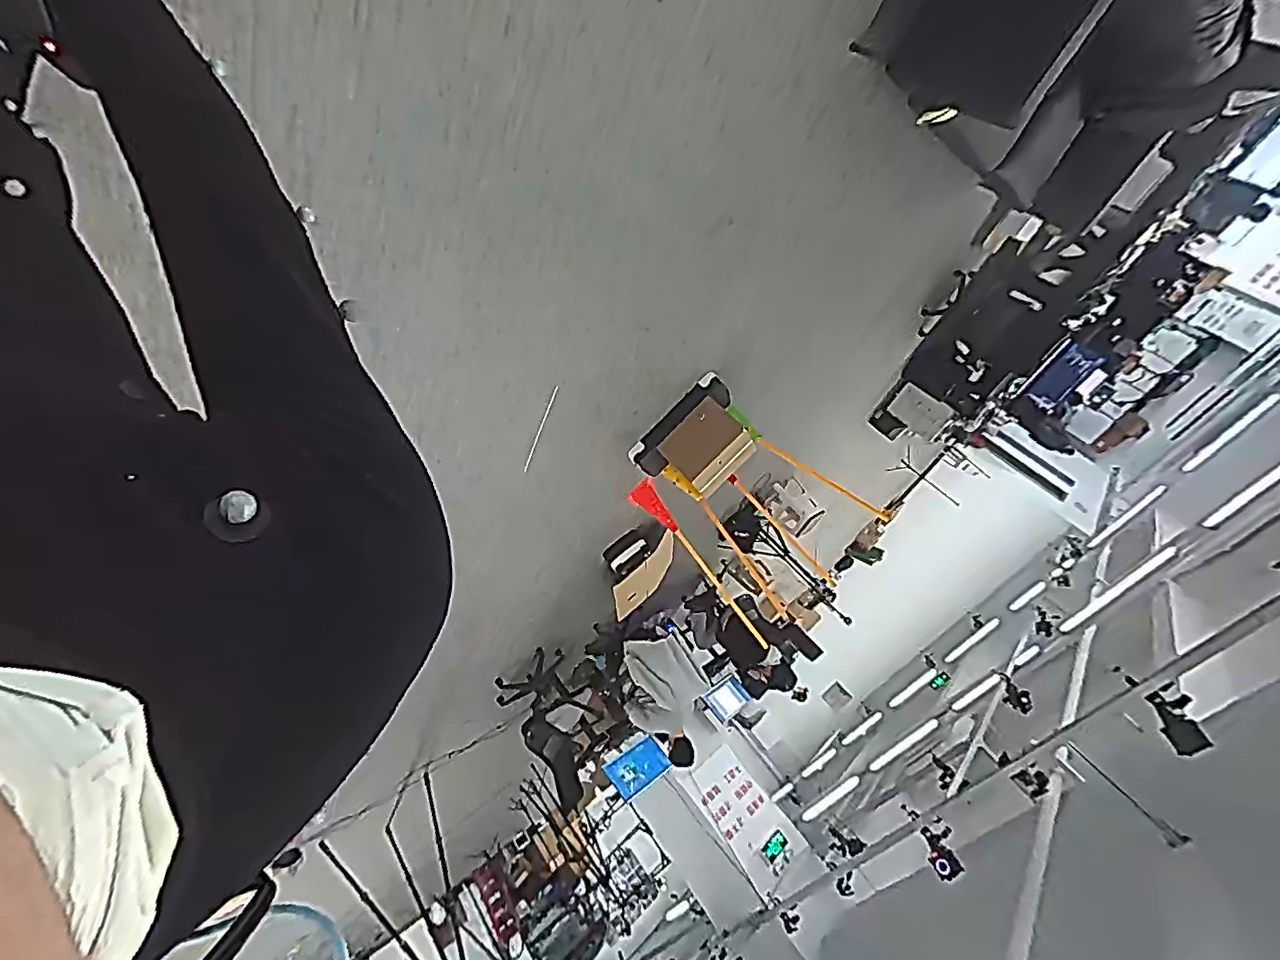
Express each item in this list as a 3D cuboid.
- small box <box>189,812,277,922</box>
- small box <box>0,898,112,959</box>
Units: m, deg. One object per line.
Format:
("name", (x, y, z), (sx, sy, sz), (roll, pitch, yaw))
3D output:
("small box", (-1.142, 1.081, 1.522), (0.168, 0.176, 0.179), (-15, 143, -44))
("small box", (-1.382, 1.143, 1.279), (0.168, 0.176, 0.179), (-14, 142, -45))
